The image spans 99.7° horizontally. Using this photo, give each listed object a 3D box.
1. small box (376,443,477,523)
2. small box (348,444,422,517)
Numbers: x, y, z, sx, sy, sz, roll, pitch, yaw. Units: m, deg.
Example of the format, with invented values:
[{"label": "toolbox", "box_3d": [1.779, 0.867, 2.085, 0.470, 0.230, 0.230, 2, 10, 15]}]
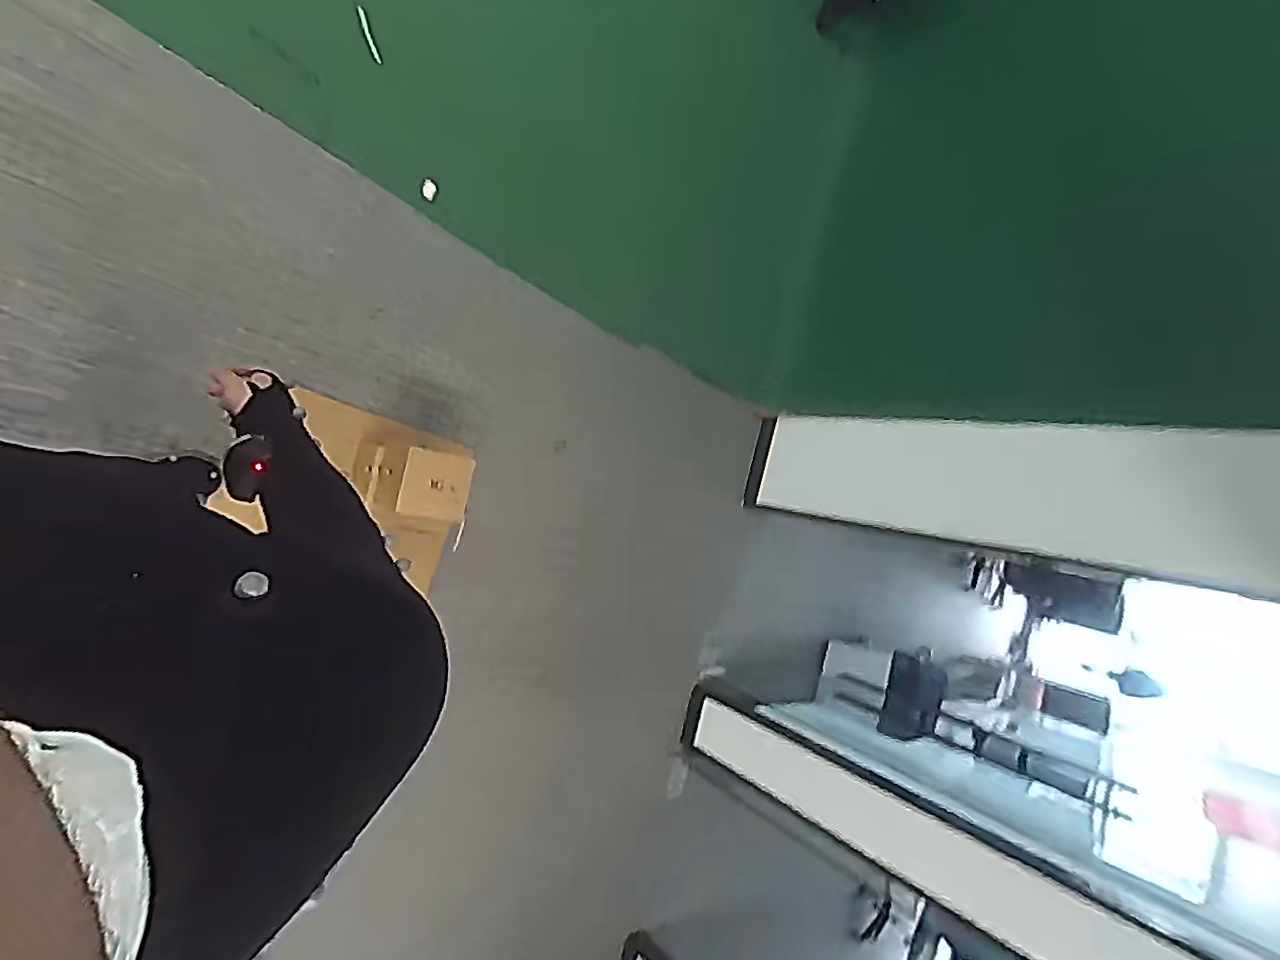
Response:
[{"label": "small box", "box_3d": [-0.555, 0.004, 1.395, 0.179, 0.176, 0.168, 15, 88, -44]}, {"label": "small box", "box_3d": [-0.681, -0.001, 1.504, 0.179, 0.176, 0.168, 14, 88, -43]}]
